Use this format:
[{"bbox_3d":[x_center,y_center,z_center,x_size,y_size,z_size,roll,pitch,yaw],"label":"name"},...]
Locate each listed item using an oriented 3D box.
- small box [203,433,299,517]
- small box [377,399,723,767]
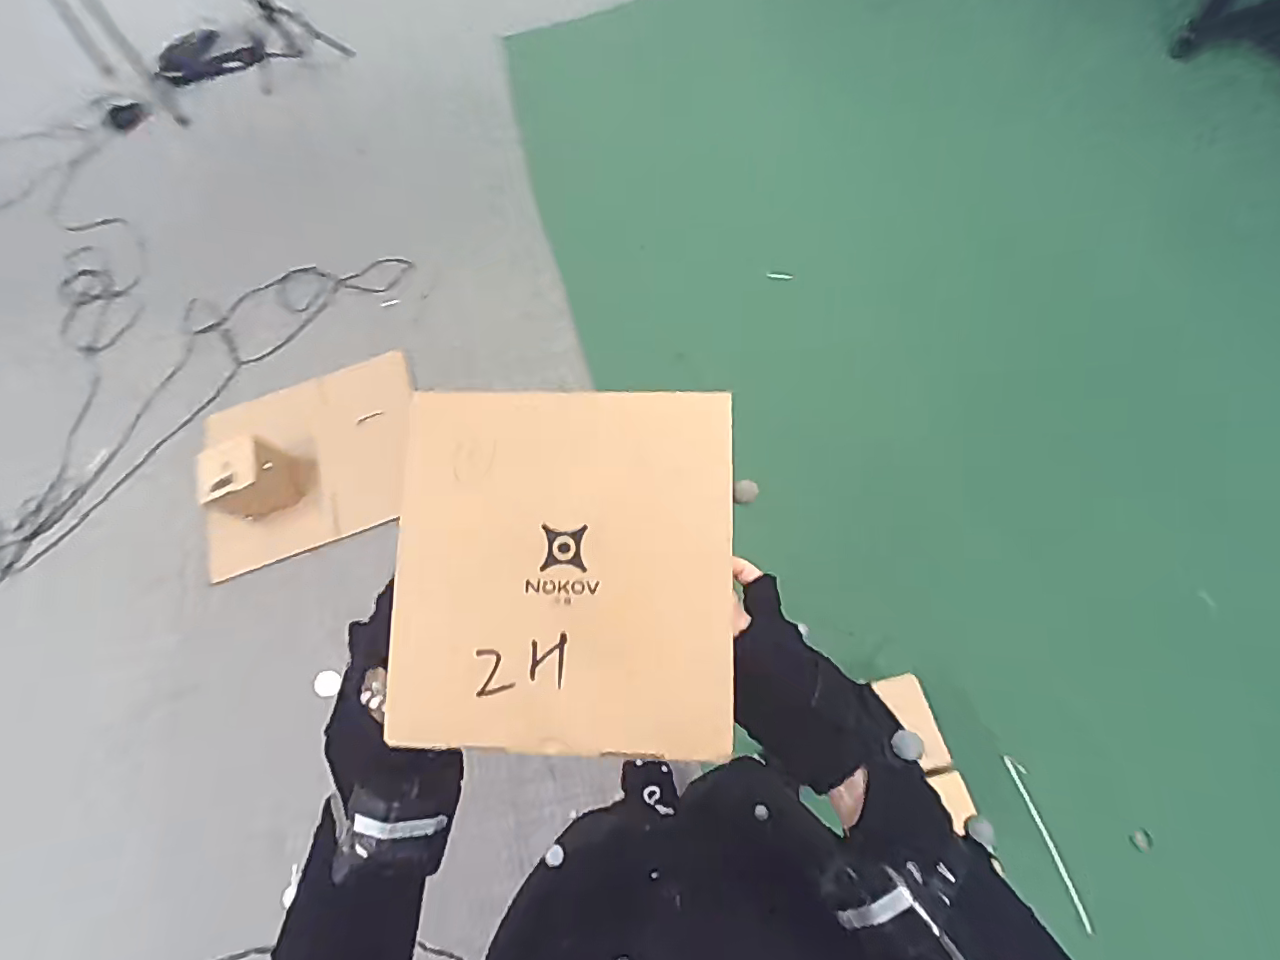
[{"bbox_3d":[-1.146,-0.005,1.602,0.168,0.176,0.179,-21,66,-1],"label":"small box"},{"bbox_3d":[-0.037,0.057,0.344,0.168,0.176,0.179,0,82,4],"label":"small box"}]
